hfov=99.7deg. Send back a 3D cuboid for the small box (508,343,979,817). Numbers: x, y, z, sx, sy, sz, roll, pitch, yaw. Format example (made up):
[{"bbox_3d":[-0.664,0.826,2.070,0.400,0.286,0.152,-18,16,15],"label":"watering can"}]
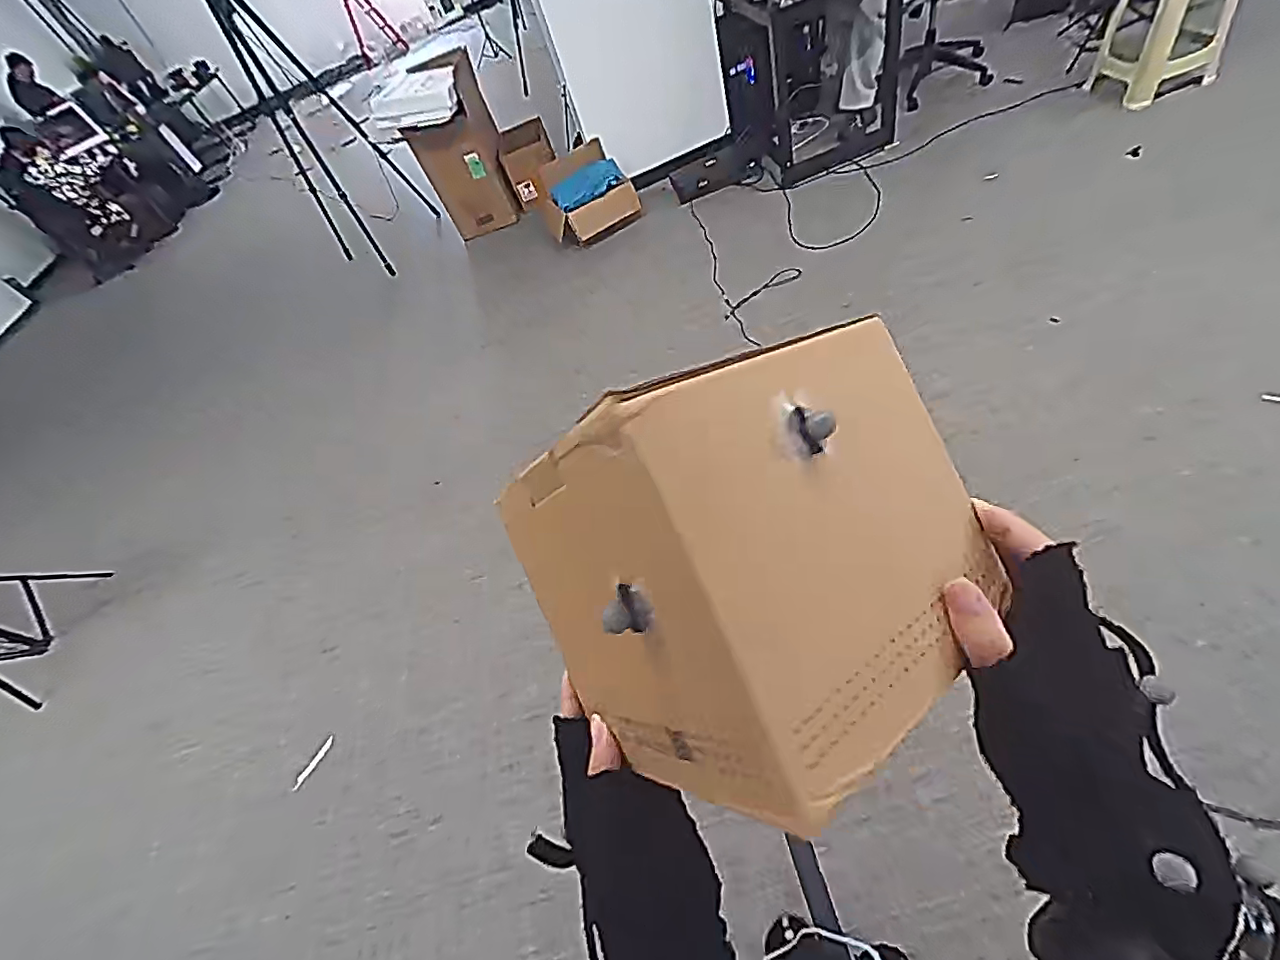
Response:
[{"bbox_3d":[0.052,0.050,0.312,0.179,0.168,0.176,-23,86,-30],"label":"small box"}]
